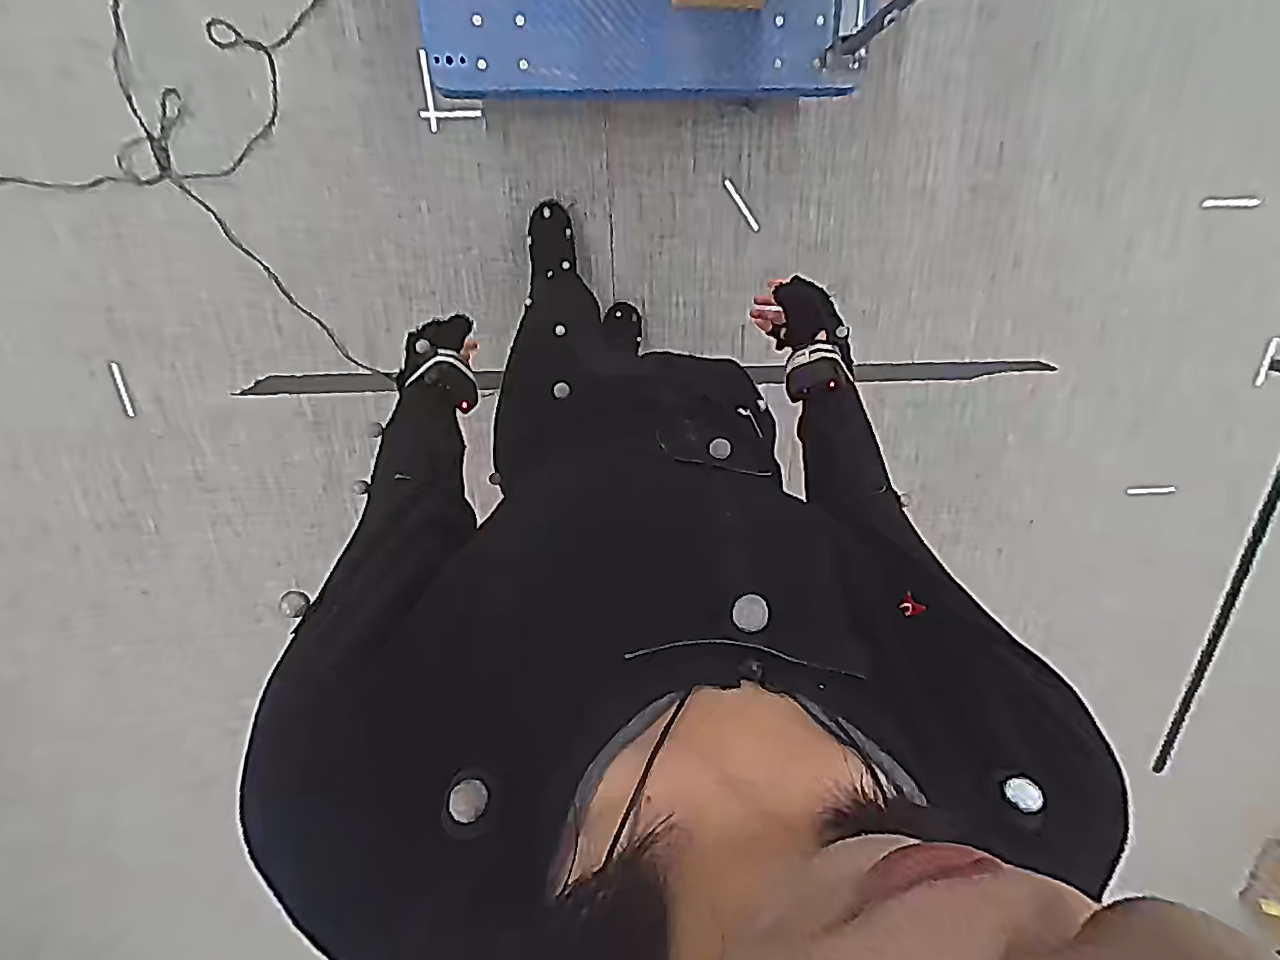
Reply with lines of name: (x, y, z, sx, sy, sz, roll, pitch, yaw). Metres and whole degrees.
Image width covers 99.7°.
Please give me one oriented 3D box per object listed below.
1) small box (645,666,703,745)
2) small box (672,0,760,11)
small box: (0.105, 0.732, 1.757, 0.168, 0.176, 0.179, 1, 111, -4)
small box: (0.149, -0.948, 0.931, 0.179, 0.176, 0.168, -1, 110, -4)
